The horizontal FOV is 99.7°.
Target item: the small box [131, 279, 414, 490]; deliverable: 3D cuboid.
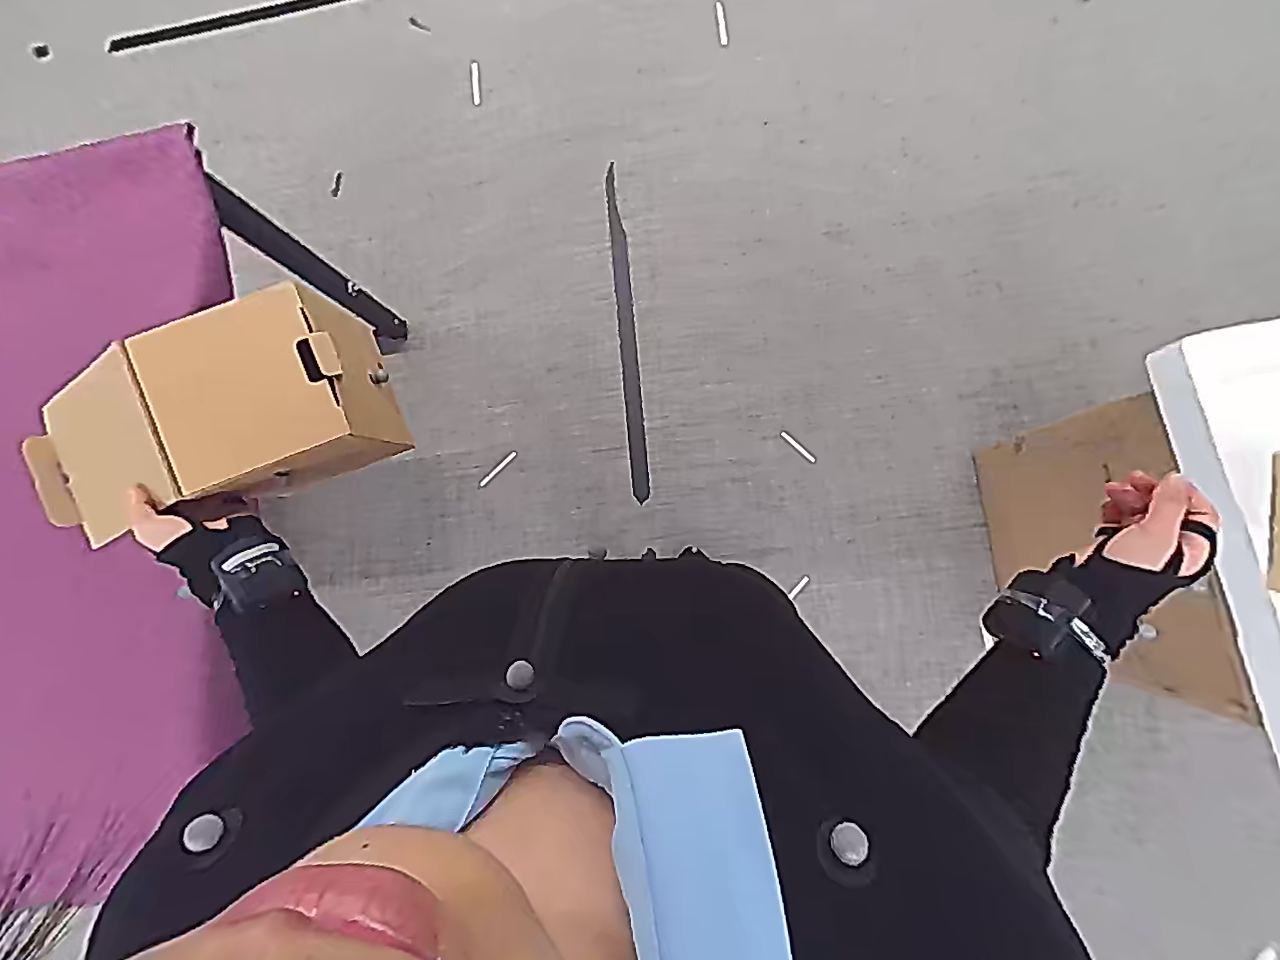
[{"bbox_3d":[-0.389,-0.092,0.606,0.179,0.176,0.168,-20,91,-2],"label":"small box"}]
